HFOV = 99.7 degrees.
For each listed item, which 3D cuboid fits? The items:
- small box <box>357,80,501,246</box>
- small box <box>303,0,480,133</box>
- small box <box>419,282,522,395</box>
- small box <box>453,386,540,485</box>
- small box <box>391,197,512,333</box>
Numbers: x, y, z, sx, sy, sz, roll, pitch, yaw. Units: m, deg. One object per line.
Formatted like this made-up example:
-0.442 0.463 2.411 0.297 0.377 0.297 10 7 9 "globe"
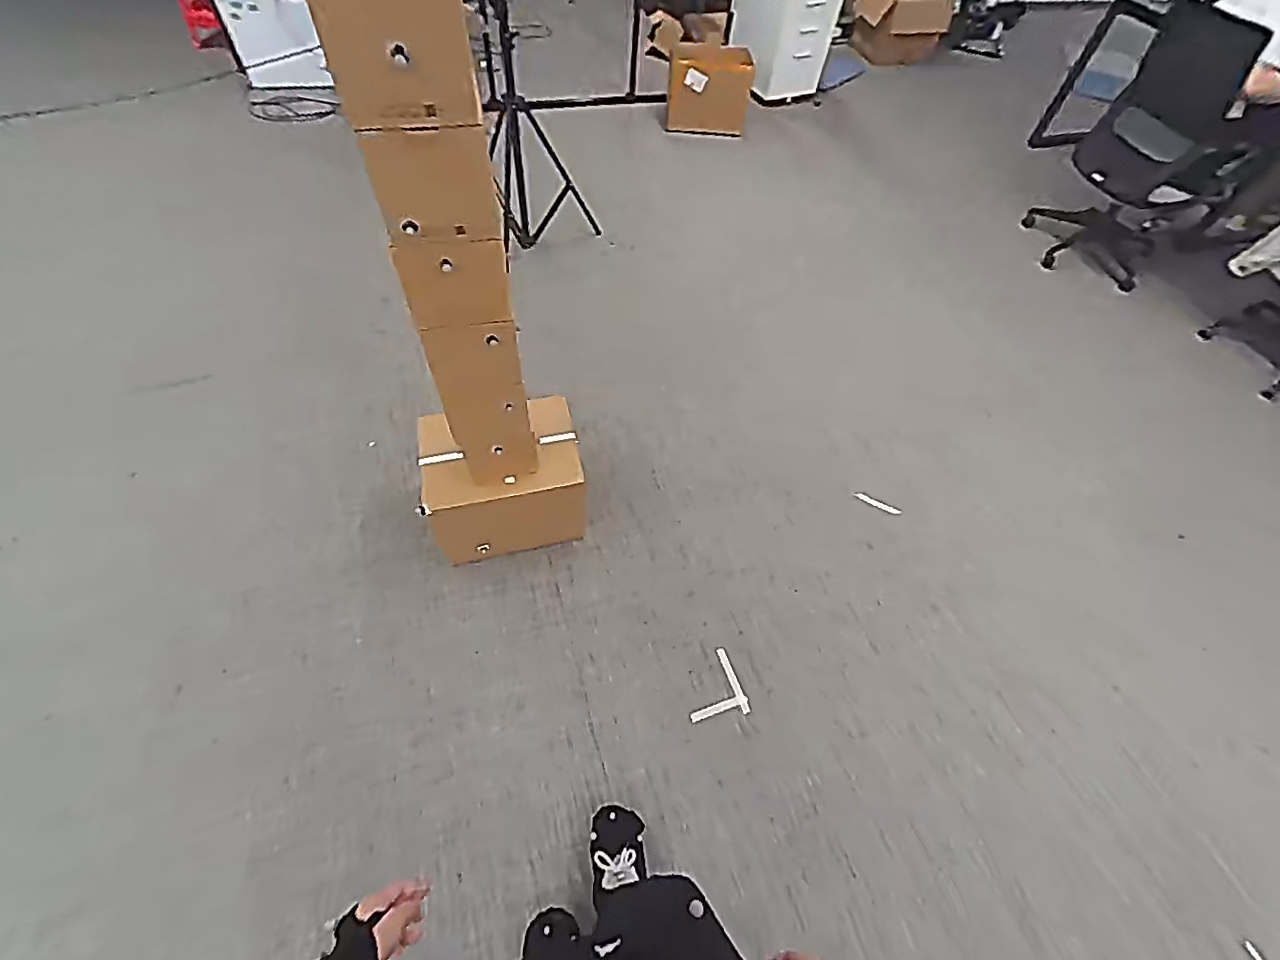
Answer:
-0.312 -0.476 0.822 0.168 0.176 0.179 -10 57 -11 "small box"
-0.306 -0.564 0.684 0.168 0.176 0.179 -11 59 -12 "small box"
-0.337 -0.292 1.091 0.179 0.176 0.168 -10 57 -11 "small box"
-0.358 -0.107 1.362 0.179 0.176 0.168 -13 59 -14 "small box"
-0.326 -0.383 0.957 0.179 0.176 0.168 -10 58 -11 "small box"
